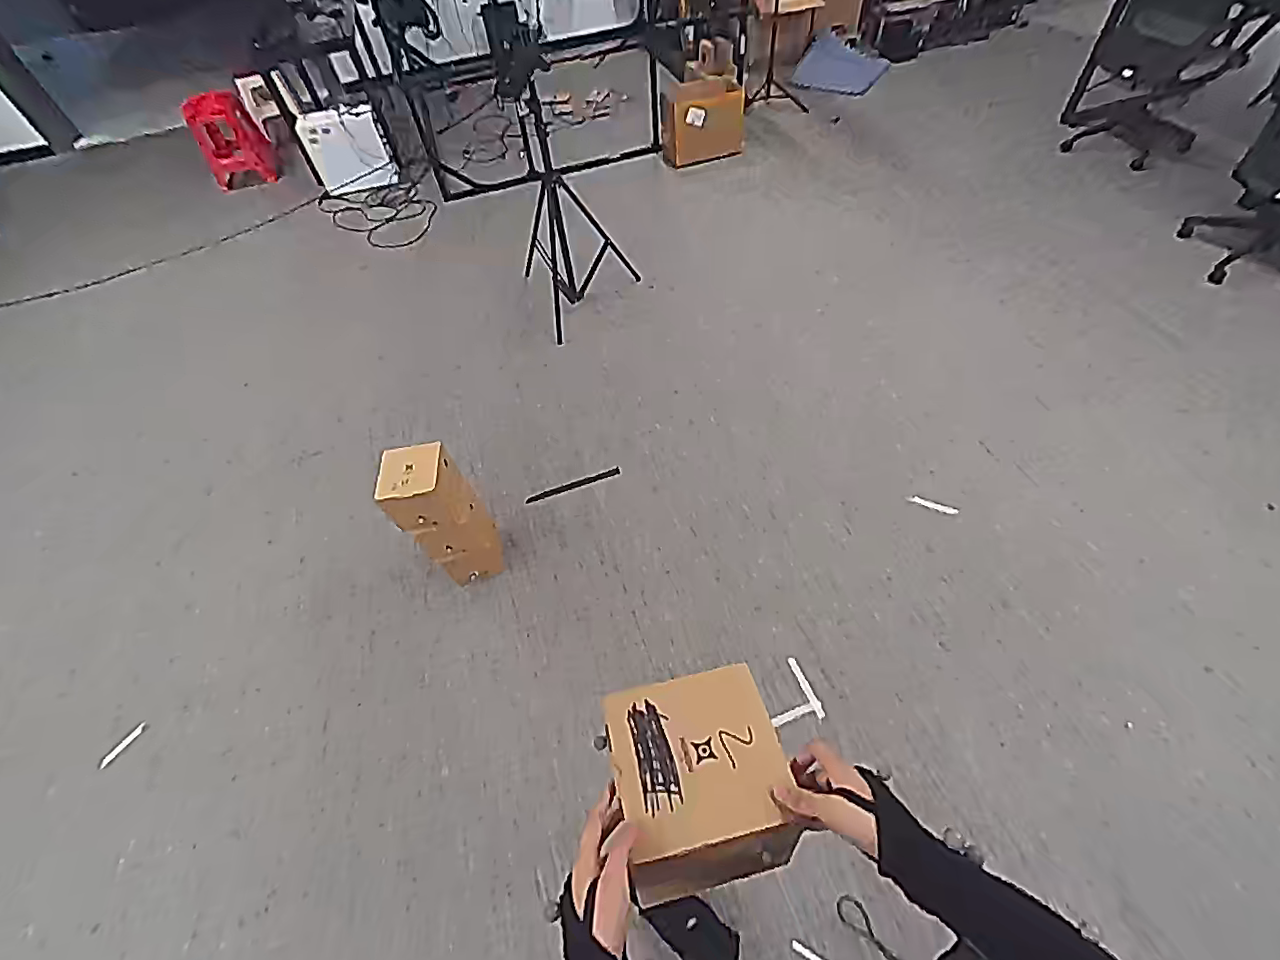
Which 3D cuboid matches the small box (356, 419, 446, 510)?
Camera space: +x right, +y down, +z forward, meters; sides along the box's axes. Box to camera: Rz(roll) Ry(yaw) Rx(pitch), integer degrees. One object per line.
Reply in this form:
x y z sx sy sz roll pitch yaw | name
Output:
-0.649 -0.041 1.490 0.168 0.176 0.179 -9 55 0 | small box

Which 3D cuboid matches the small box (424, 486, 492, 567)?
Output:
-0.591 0.151 1.748 0.168 0.176 0.179 -16 54 -5 | small box

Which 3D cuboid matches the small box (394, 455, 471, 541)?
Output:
-0.616 0.057 1.619 0.168 0.176 0.179 -14 55 -3 | small box
